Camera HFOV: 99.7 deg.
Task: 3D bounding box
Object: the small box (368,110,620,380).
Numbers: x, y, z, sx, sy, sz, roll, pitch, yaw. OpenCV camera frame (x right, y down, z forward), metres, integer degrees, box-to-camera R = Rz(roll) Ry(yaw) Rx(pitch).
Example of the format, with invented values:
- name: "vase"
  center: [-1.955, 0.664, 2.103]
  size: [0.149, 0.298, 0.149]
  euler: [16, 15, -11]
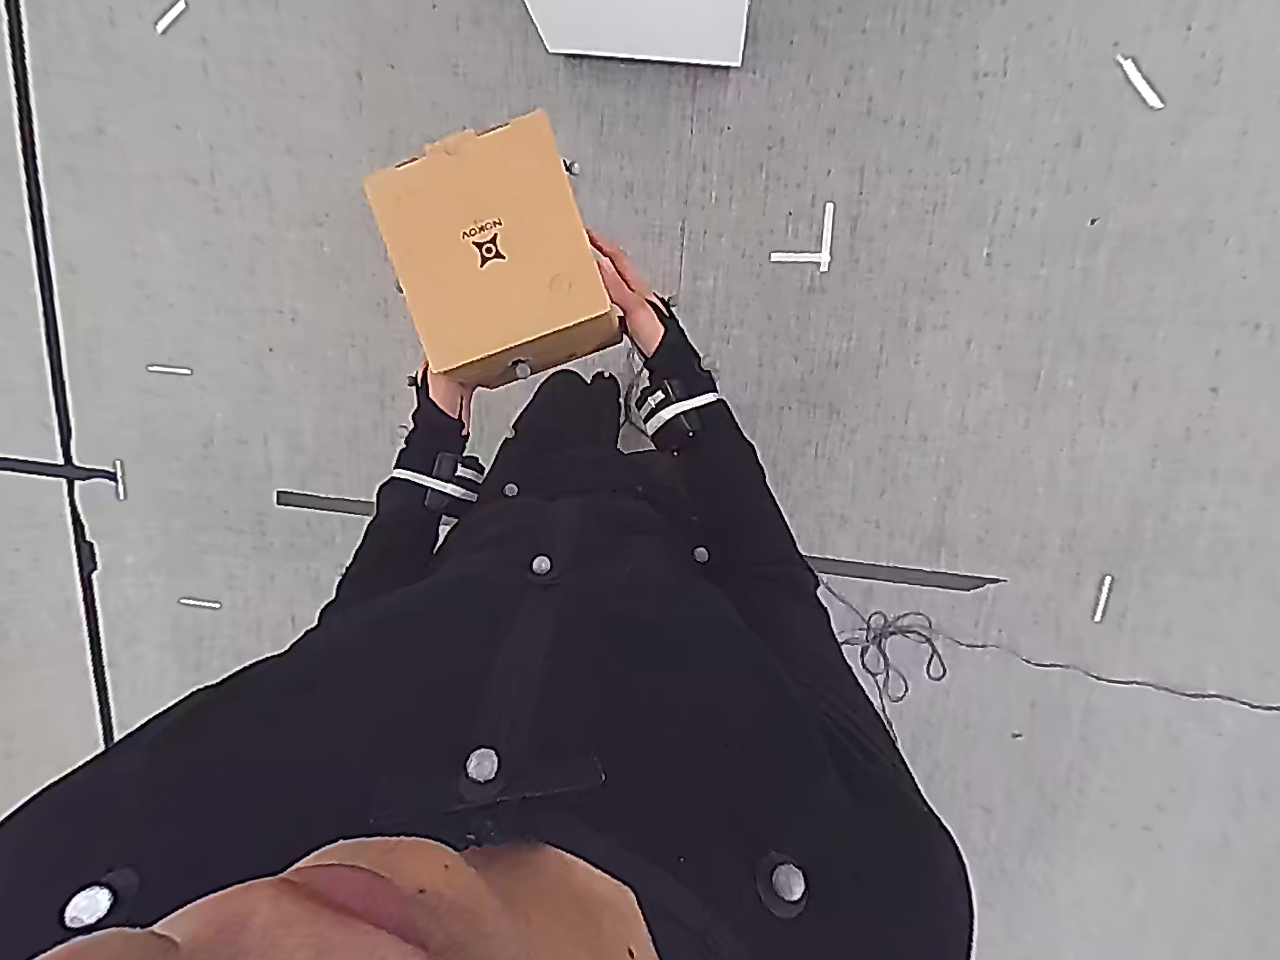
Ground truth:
- name: "small box"
  center: [-0.125, -0.207, 0.537]
  size: [0.168, 0.176, 0.179]
  euler: [-19, 93, 3]
